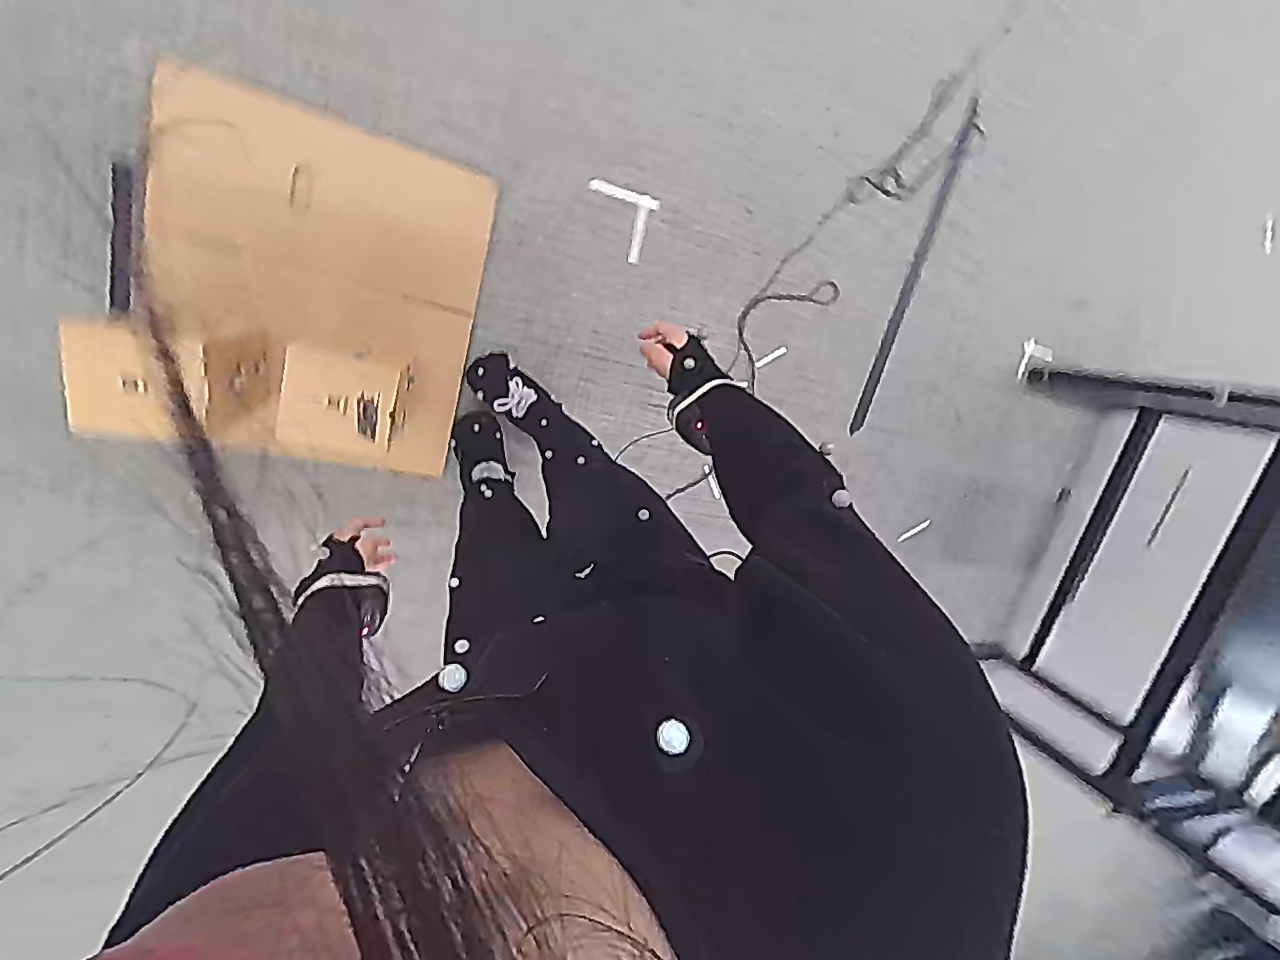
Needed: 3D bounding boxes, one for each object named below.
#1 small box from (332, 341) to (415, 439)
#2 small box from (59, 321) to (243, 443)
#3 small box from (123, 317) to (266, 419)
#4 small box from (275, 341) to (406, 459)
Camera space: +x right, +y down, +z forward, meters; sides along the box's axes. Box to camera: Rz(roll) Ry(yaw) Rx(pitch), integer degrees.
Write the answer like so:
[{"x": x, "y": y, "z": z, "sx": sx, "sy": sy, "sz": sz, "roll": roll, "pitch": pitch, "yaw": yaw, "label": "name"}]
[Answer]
[{"x": -0.581, "y": -0.195, "z": 1.146, "sx": 0.179, "sy": 0.176, "sz": 0.168, "roll": 7, "pitch": 104, "yaw": -21, "label": "small box"}, {"x": -0.790, "y": -0.166, "z": 0.895, "sx": 0.179, "sy": 0.176, "sz": 0.168, "roll": 4, "pitch": 107, "yaw": -21, "label": "small box"}, {"x": -0.841, "y": -0.219, "z": 1.042, "sx": 0.179, "sy": 0.176, "sz": 0.168, "roll": 2, "pitch": 106, "yaw": -21, "label": "small box"}, {"x": -0.537, "y": -0.152, "z": 0.993, "sx": 0.179, "sy": 0.176, "sz": 0.168, "roll": 11, "pitch": 103, "yaw": -22, "label": "small box"}]
